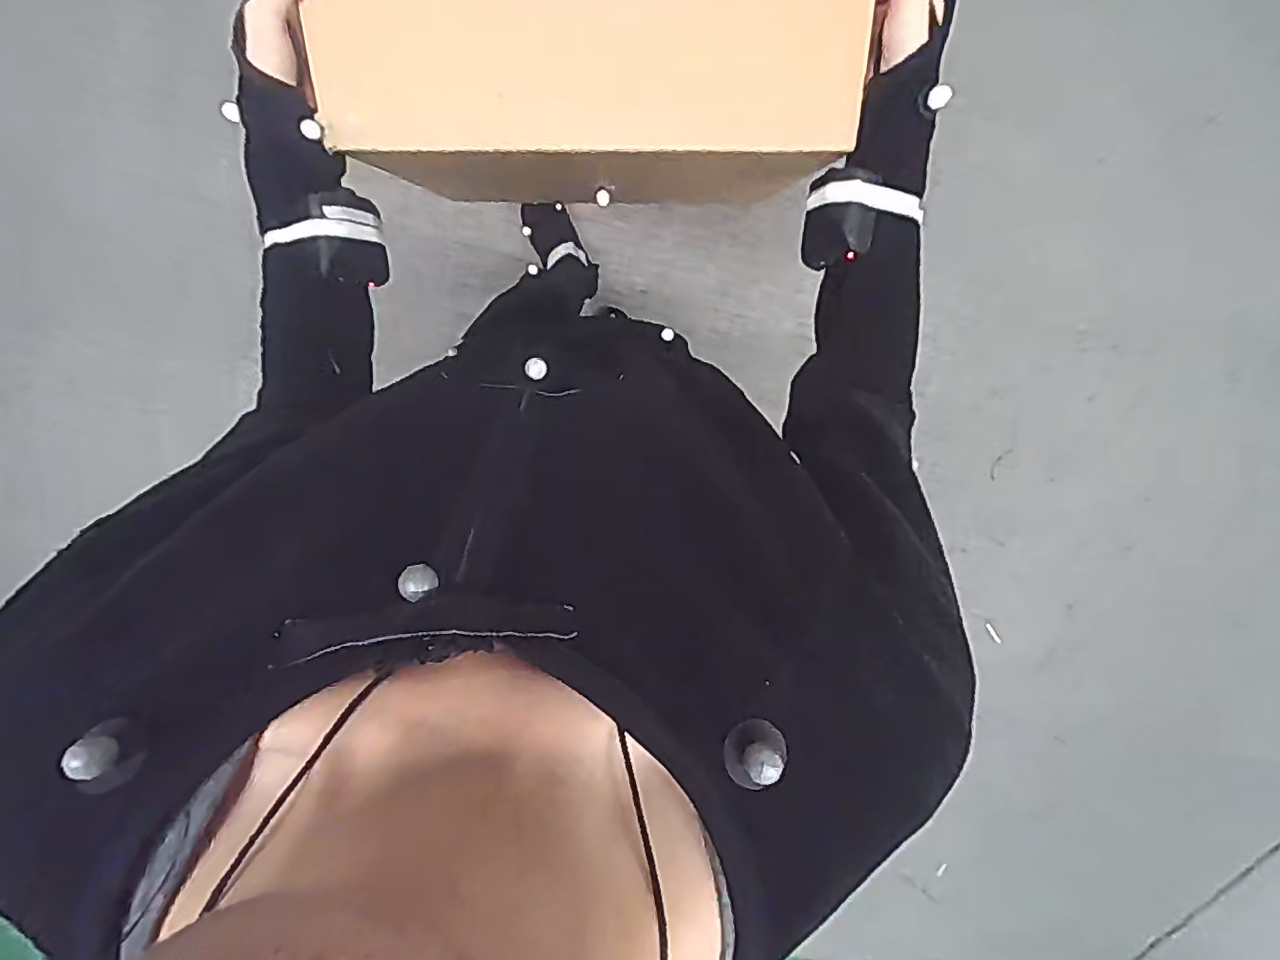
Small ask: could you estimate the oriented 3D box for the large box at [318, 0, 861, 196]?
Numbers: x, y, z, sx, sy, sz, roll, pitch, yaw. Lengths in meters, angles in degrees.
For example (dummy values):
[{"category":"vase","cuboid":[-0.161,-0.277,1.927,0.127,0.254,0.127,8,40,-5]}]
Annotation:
[{"category":"large box","cuboid":[-0.037,-0.461,0.511,0.408,0.320,0.320,-1,110,0]}]
